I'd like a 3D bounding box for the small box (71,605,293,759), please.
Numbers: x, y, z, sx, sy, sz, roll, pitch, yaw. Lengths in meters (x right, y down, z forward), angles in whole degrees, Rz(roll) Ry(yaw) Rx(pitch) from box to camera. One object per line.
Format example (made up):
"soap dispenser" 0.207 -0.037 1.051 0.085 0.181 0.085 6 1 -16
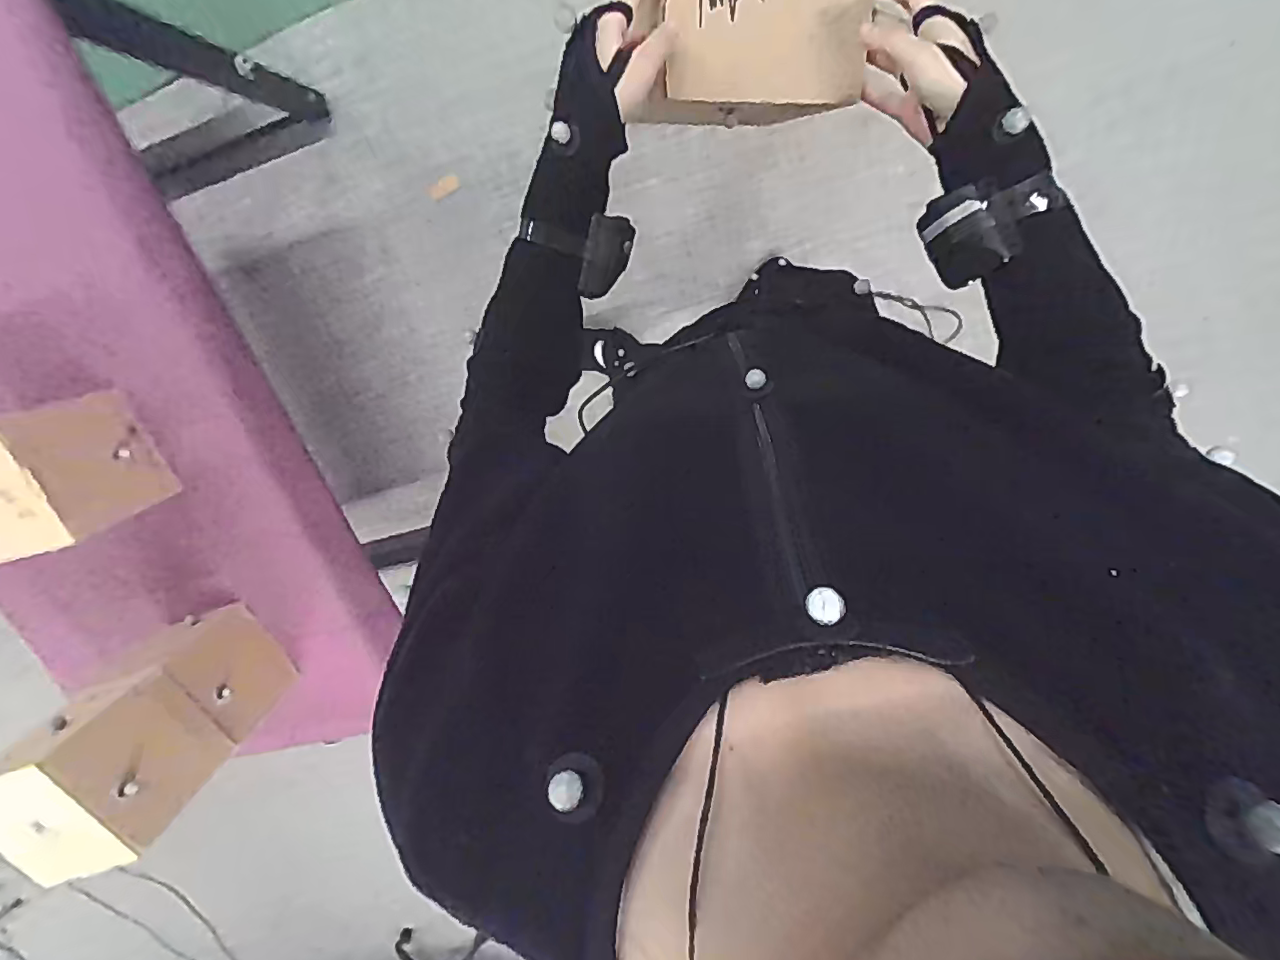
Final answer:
"small box" -0.714 0.334 0.869 0.168 0.176 0.179 -19 110 10

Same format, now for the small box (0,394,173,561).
"small box" -0.808 -0.005 0.731 0.179 0.176 0.168 -13 112 8

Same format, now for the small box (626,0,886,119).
"small box" 0.086 -0.415 0.459 0.179 0.176 0.168 -7 120 -13

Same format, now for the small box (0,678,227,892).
"small box" -0.718 0.390 0.718 0.168 0.176 0.179 -21 111 10
